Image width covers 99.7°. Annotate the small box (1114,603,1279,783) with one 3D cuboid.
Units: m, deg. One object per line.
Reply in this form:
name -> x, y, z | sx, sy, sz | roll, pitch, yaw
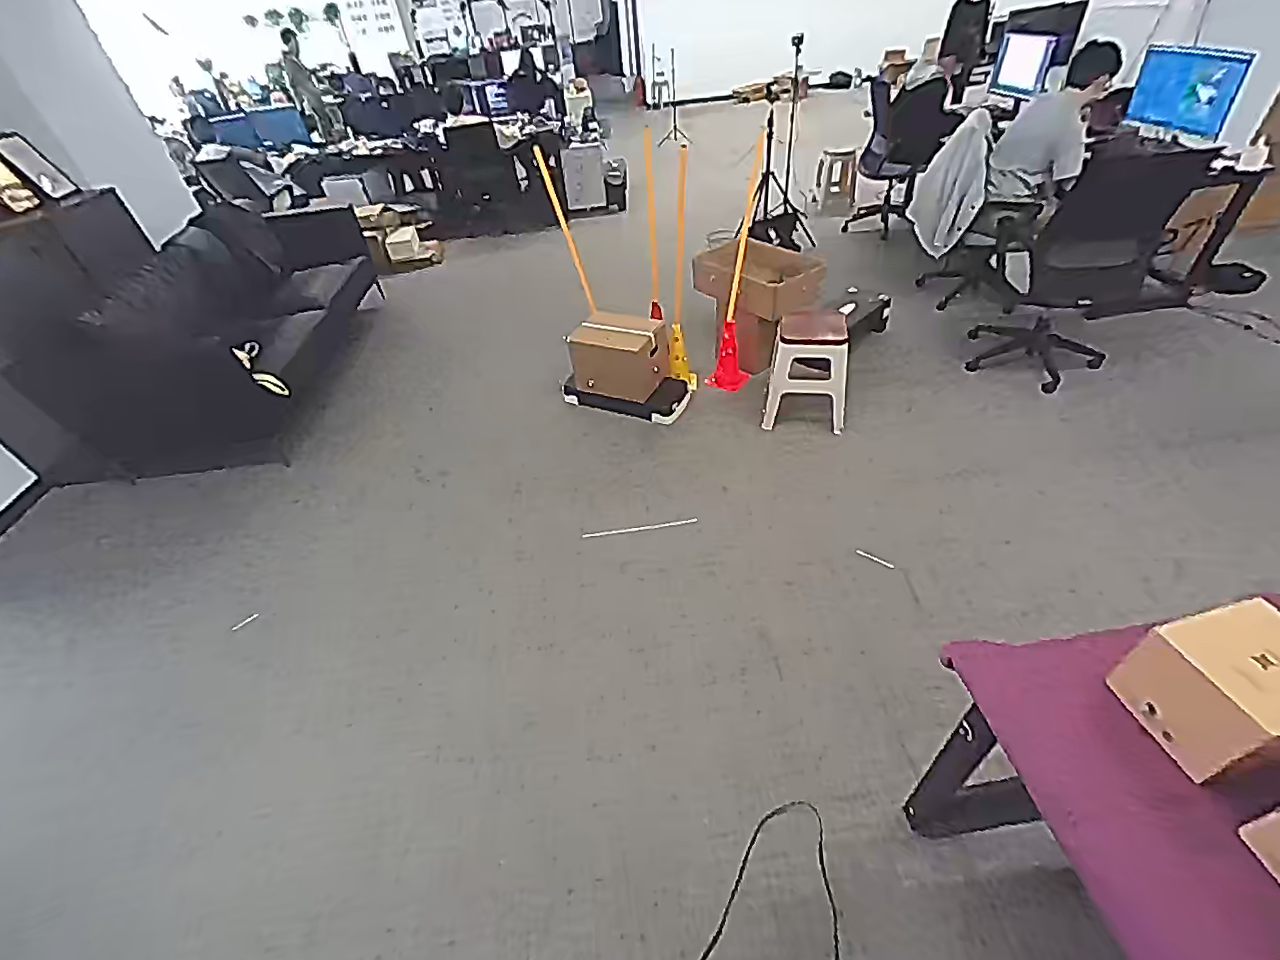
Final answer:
small box -> 0.859, 0.309, 0.783 | 0.179, 0.176, 0.168 | -12, 41, -4
